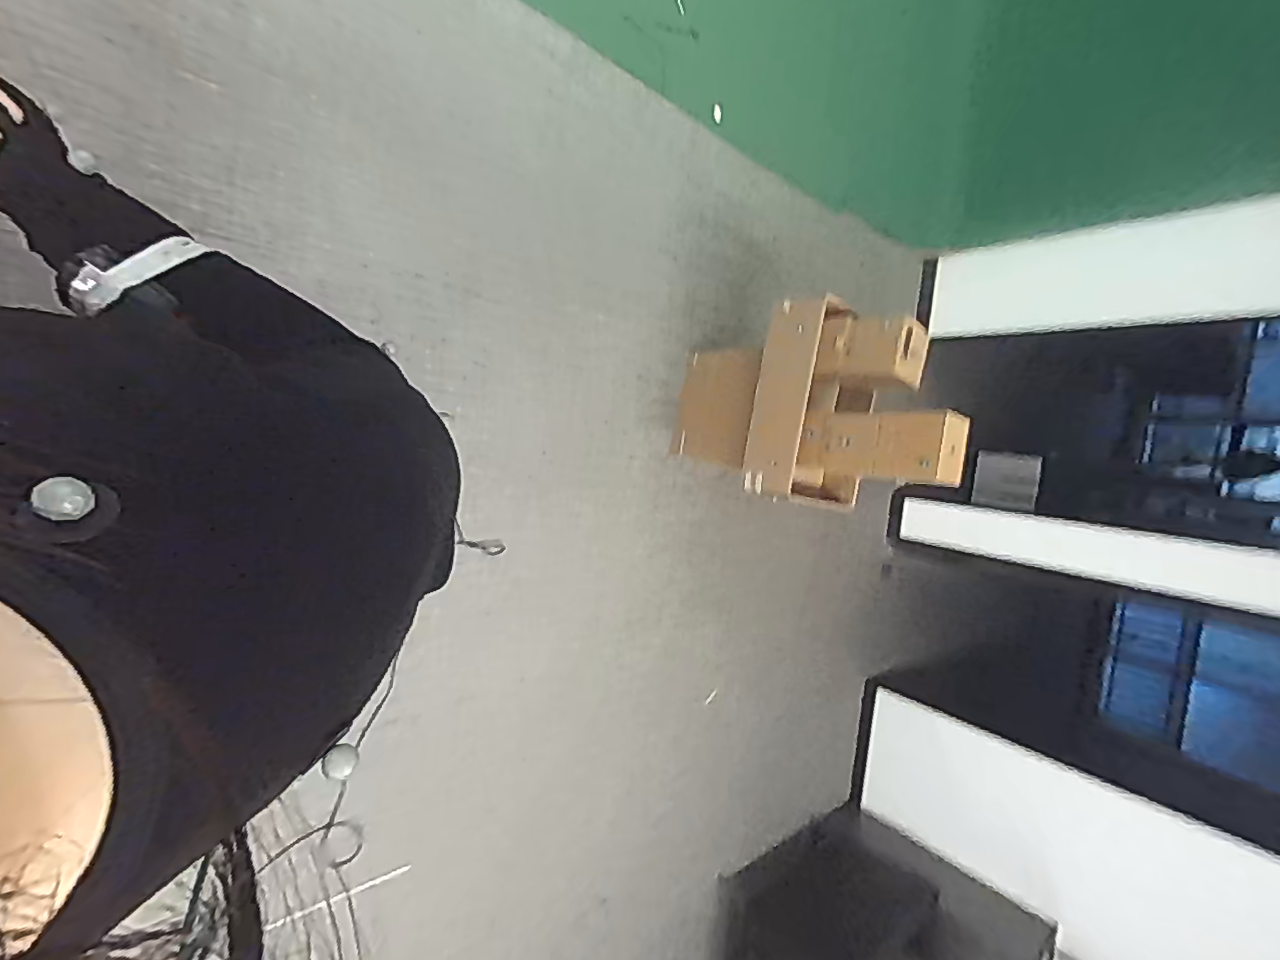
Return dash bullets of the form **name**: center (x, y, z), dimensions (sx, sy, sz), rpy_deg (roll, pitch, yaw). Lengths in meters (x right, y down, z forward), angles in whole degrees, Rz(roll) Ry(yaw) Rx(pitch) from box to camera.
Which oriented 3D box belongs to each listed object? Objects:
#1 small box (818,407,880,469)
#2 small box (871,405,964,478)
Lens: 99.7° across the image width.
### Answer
- **small box**: center (0.649, -0.121, 1.600), dimensions (0.179, 0.176, 0.168), rpy_deg (5, 94, -40)
- **small box**: center (0.754, -0.107, 1.475), dimensions (0.168, 0.176, 0.179), rpy_deg (5, 94, -41)
